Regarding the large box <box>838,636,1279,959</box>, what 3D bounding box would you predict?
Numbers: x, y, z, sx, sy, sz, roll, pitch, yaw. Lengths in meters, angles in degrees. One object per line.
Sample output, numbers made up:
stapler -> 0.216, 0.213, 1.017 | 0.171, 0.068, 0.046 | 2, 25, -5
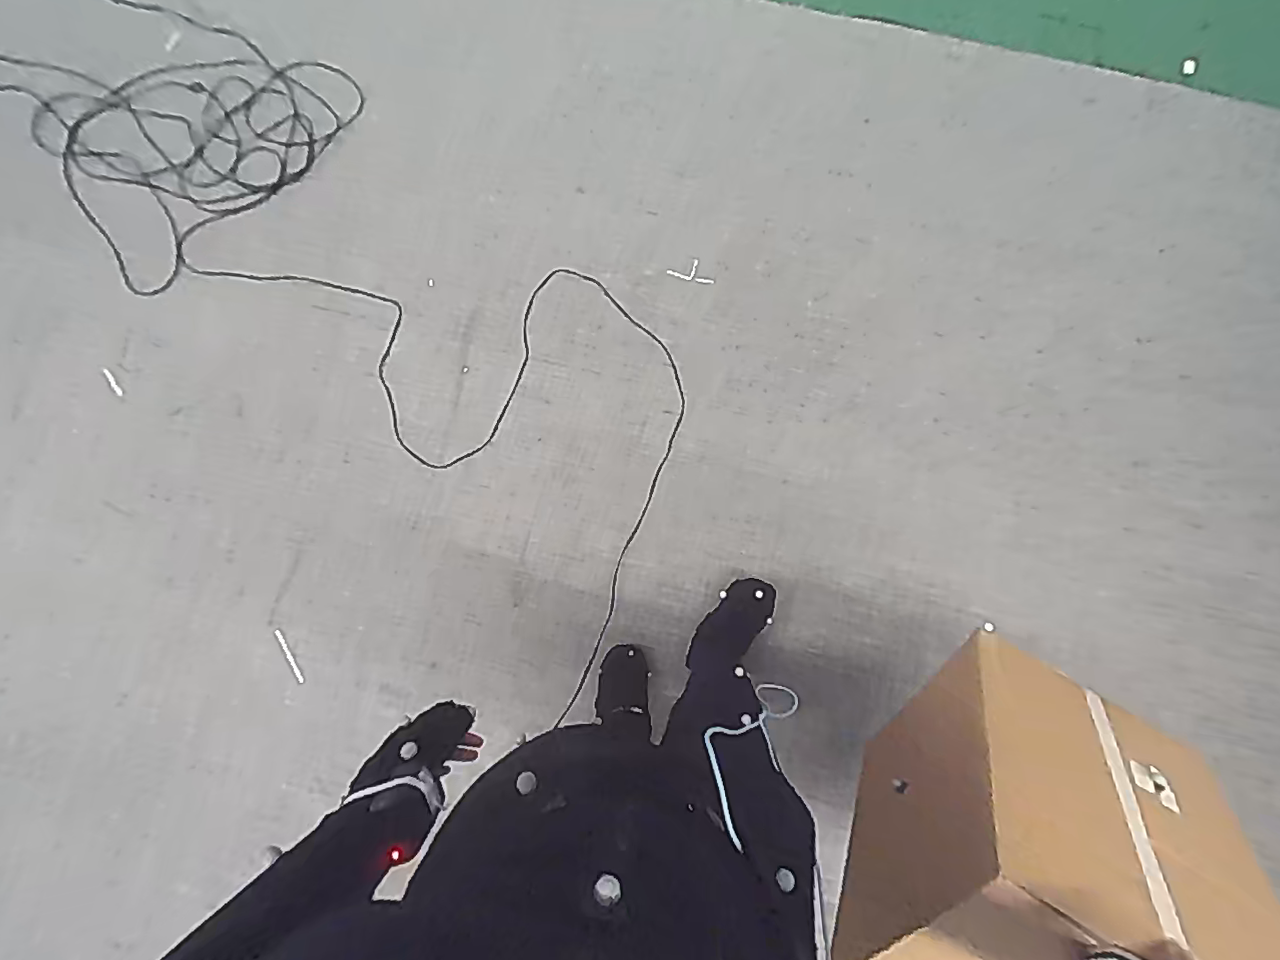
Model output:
large box -> 0.487, 0.492, 0.681 | 0.320, 0.408, 0.320 | 33, 121, 15
